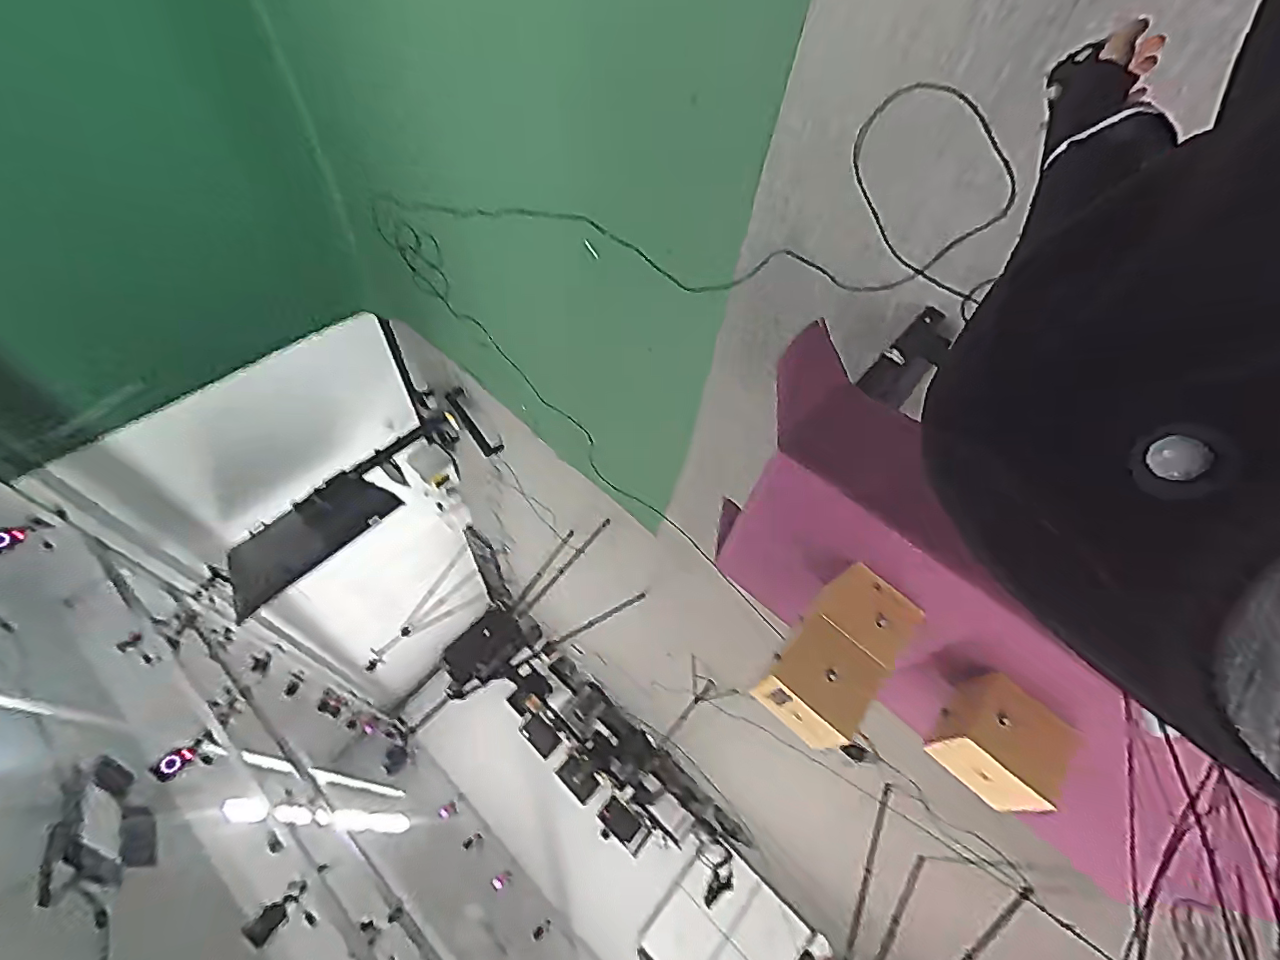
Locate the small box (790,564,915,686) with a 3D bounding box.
[{"bbox_3d":[0.462,0.311,1.173,0.168,0.176,0.179,40,152,15],"label":"small box"}]

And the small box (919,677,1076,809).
[{"bbox_3d":[0.709,0.518,1.078,0.179,0.176,0.168,39,152,17],"label":"small box"}]
